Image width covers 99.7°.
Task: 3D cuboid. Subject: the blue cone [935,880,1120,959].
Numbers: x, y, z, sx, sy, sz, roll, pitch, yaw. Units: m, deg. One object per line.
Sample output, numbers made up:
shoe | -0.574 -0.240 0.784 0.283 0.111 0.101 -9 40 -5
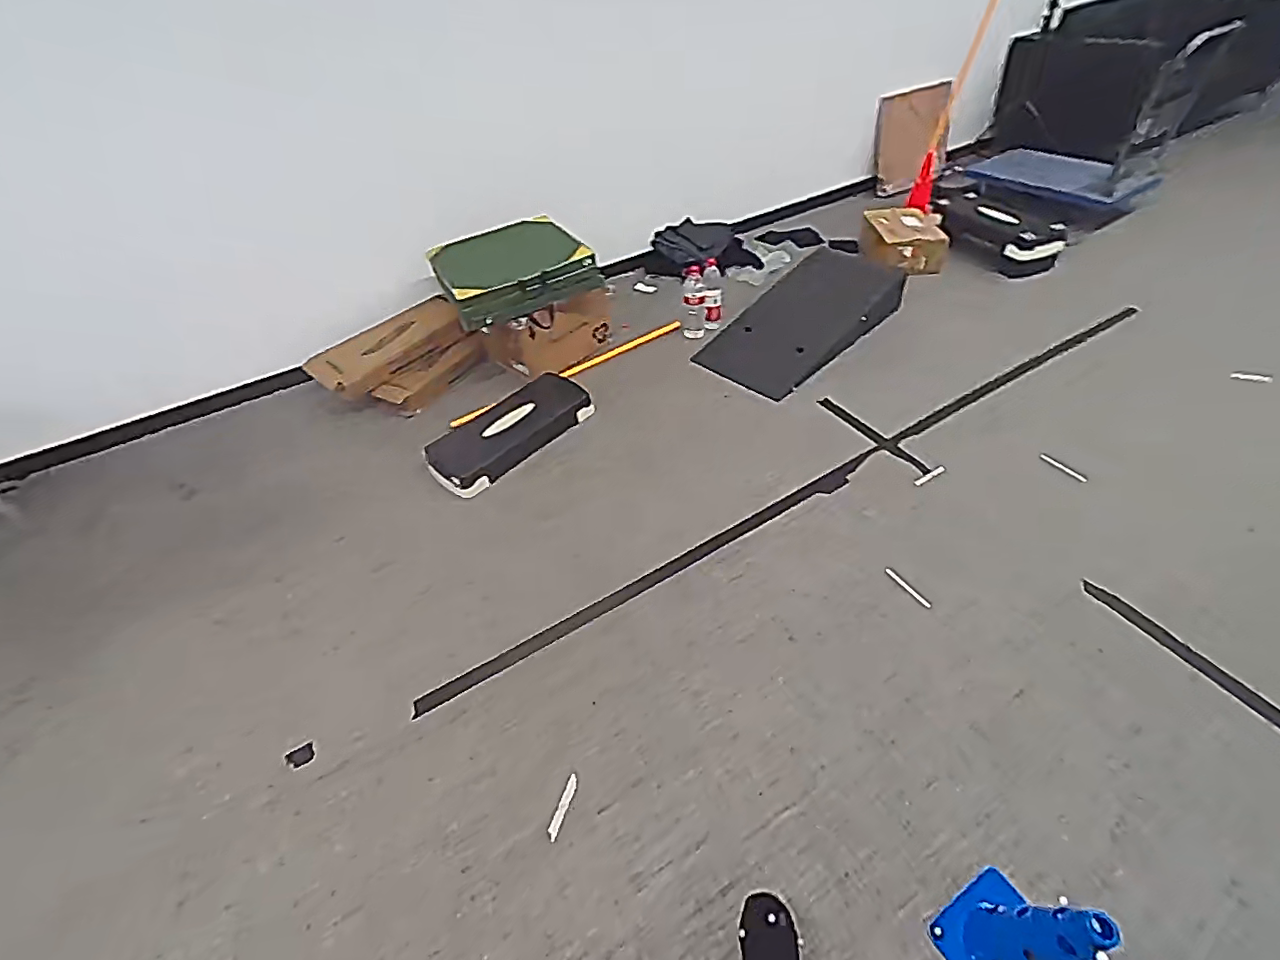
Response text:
blue cone | 0.653 0.748 0.862 0.192 0.380 0.193 -26 48 -16
